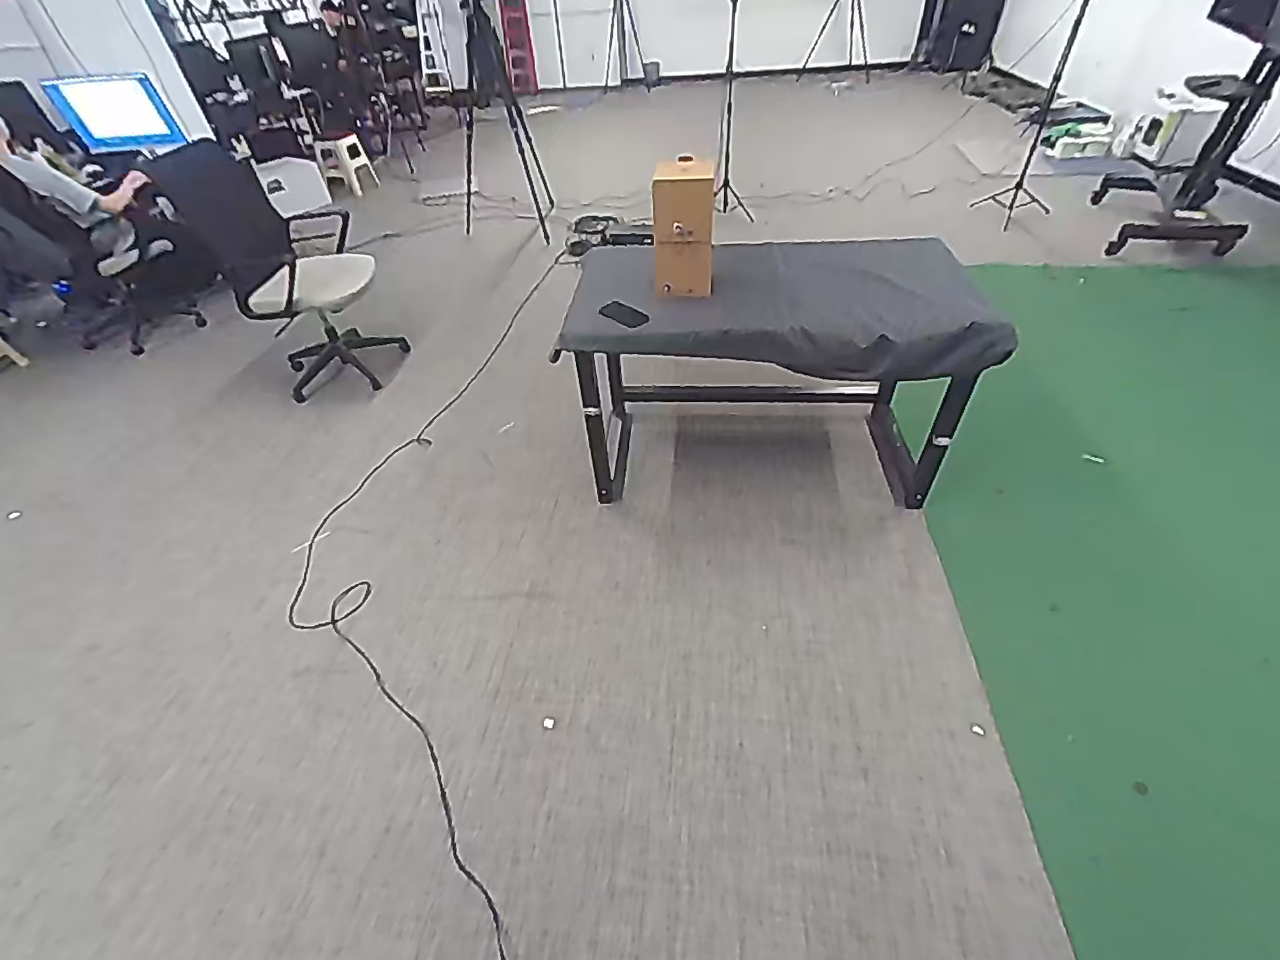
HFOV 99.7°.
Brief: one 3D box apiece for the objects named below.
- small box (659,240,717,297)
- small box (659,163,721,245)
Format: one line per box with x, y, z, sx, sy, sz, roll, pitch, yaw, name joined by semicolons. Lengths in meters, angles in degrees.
0.152;-0.674;1.659;0.168;0.176;0.179;3;43;7;small box
0.144;-0.787;1.543;0.168;0.176;0.179;1;45;7;small box
